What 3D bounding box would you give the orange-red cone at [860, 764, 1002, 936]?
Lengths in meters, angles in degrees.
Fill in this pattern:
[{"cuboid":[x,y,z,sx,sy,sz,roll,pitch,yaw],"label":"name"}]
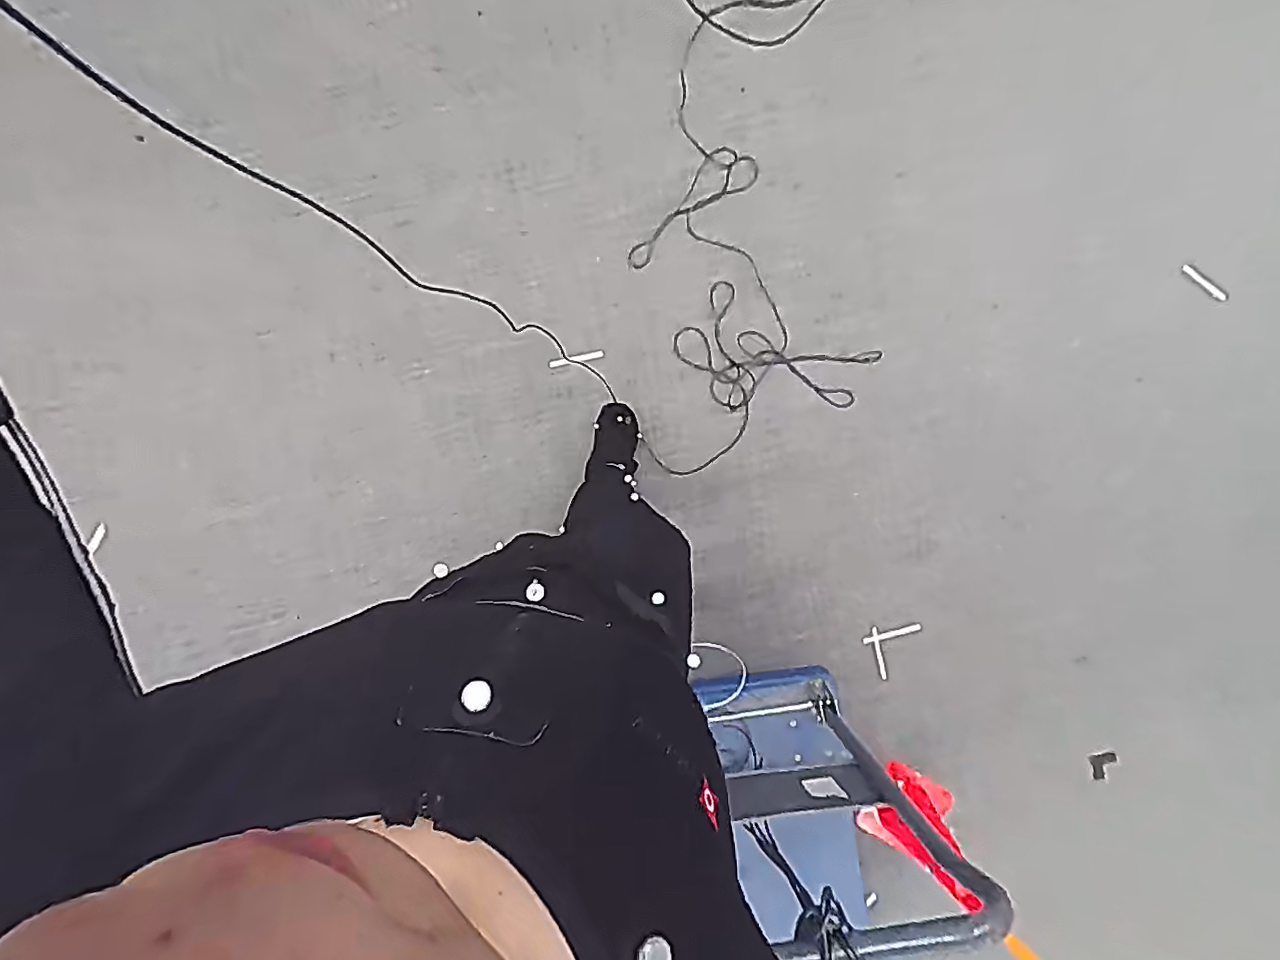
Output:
[{"cuboid":[0.693,0.866,1.231,0.198,0.360,0.199,33,93,-1],"label":"orange-red cone"}]
